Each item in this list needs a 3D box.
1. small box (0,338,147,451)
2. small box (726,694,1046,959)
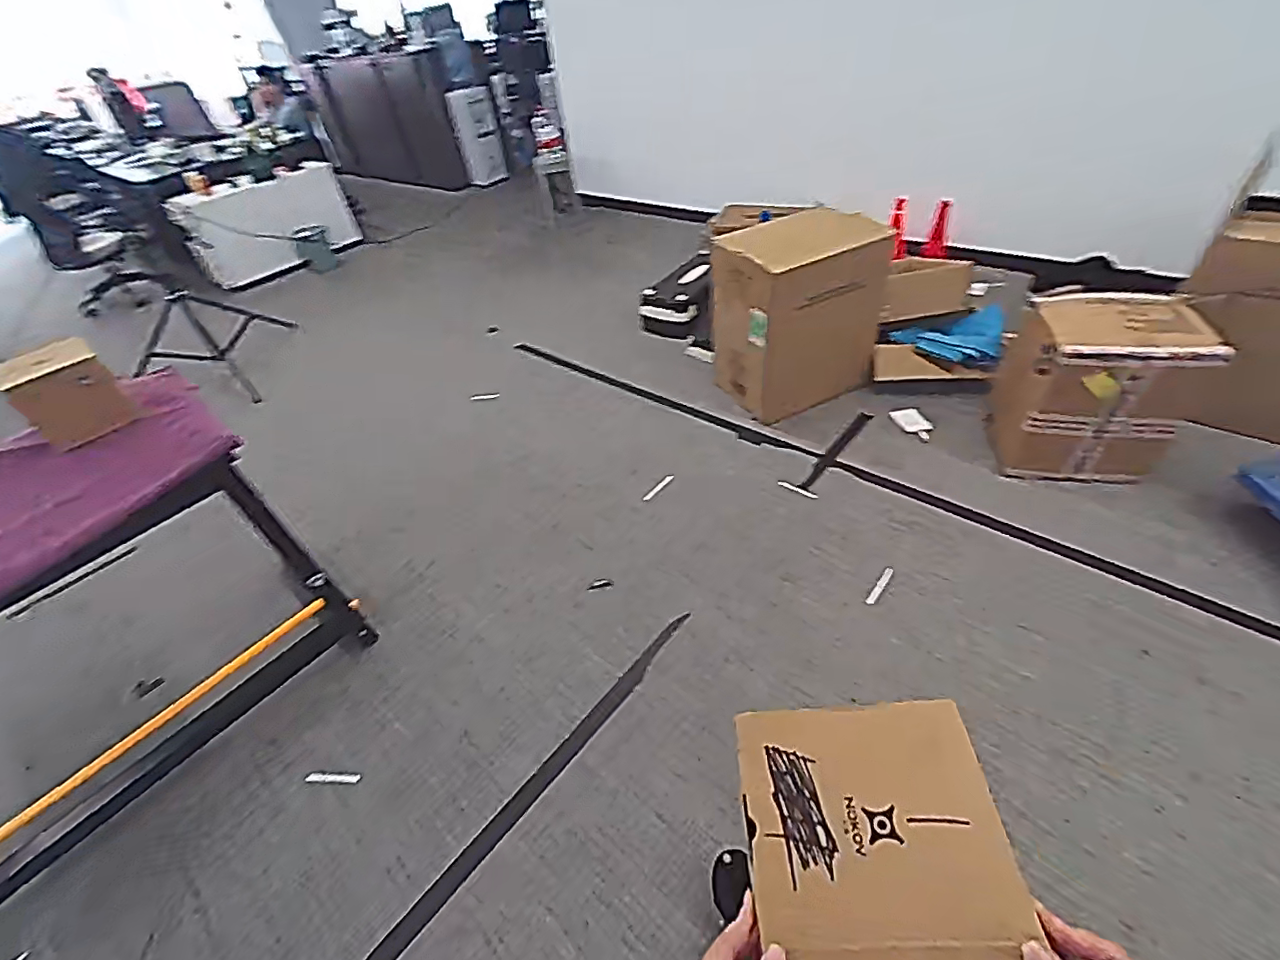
[{"bbox_3d":[-1.306,-0.200,1.259,0.168,0.176,0.179,28,53,32],"label":"small box"},{"bbox_3d":[0.174,0.293,0.442,0.179,0.176,0.168,-9,48,8],"label":"small box"}]
